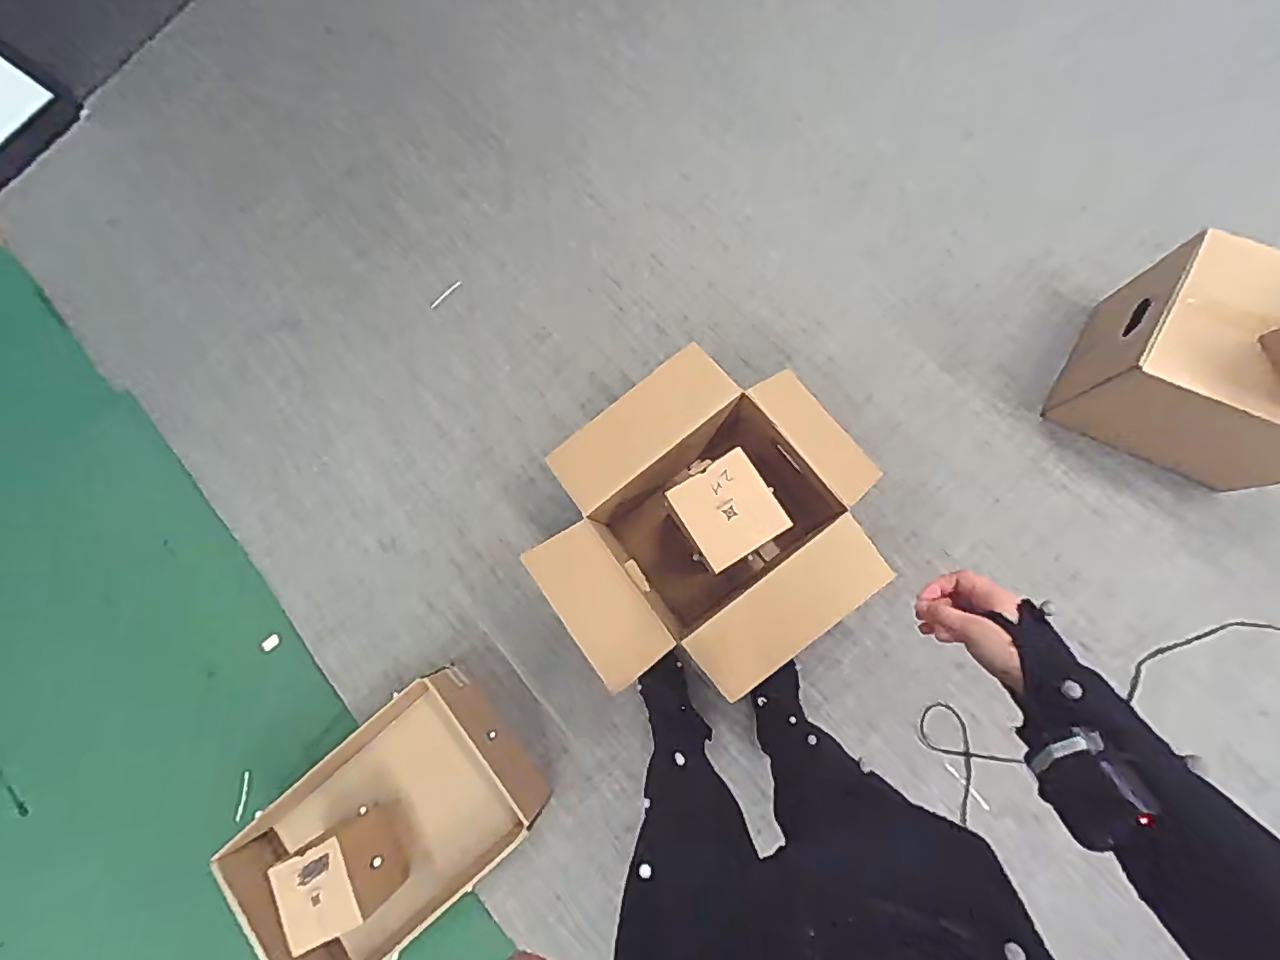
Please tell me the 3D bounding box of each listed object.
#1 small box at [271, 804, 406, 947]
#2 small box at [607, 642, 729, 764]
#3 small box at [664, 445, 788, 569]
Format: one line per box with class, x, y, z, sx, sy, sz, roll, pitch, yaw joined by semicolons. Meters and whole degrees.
small box;-0.647;0.840;1.176;0.168;0.176;0.179;-26;78;2
small box;0.066;0.478;1.177;0.176;0.168;0.179;42;62;-15
small box;0.164;0.059;1.064;0.168;0.176;0.179;-32;79;-2
